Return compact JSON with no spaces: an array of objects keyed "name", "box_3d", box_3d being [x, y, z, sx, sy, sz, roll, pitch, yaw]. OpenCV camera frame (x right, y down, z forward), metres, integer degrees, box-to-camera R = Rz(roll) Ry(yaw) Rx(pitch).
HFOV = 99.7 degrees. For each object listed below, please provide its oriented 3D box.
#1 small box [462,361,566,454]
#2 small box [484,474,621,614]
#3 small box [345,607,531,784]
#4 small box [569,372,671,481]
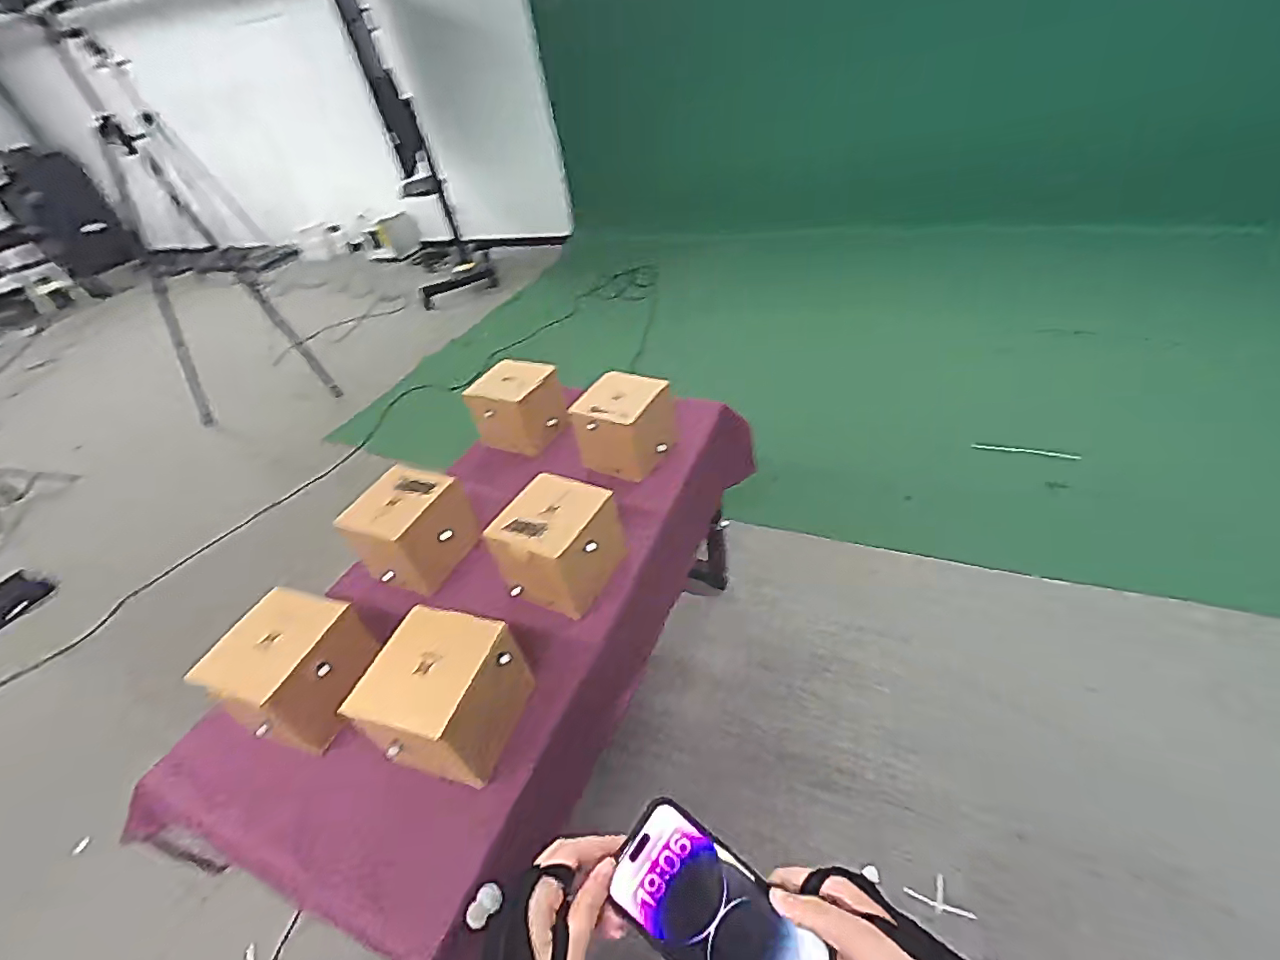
[{"name":"small box","box_3d":[-0.318,-0.185,1.392,0.179,0.176,0.168,13,47,25]},{"name":"small box","box_3d":[-0.150,0.119,1.006,0.168,0.176,0.179,14,46,27]},{"name":"small box","box_3d":[-0.284,0.320,0.807,0.168,0.176,0.179,5,42,19]},{"name":"small box","box_3d":[-0.039,-0.126,1.262,0.168,0.176,0.179,15,47,28]}]
